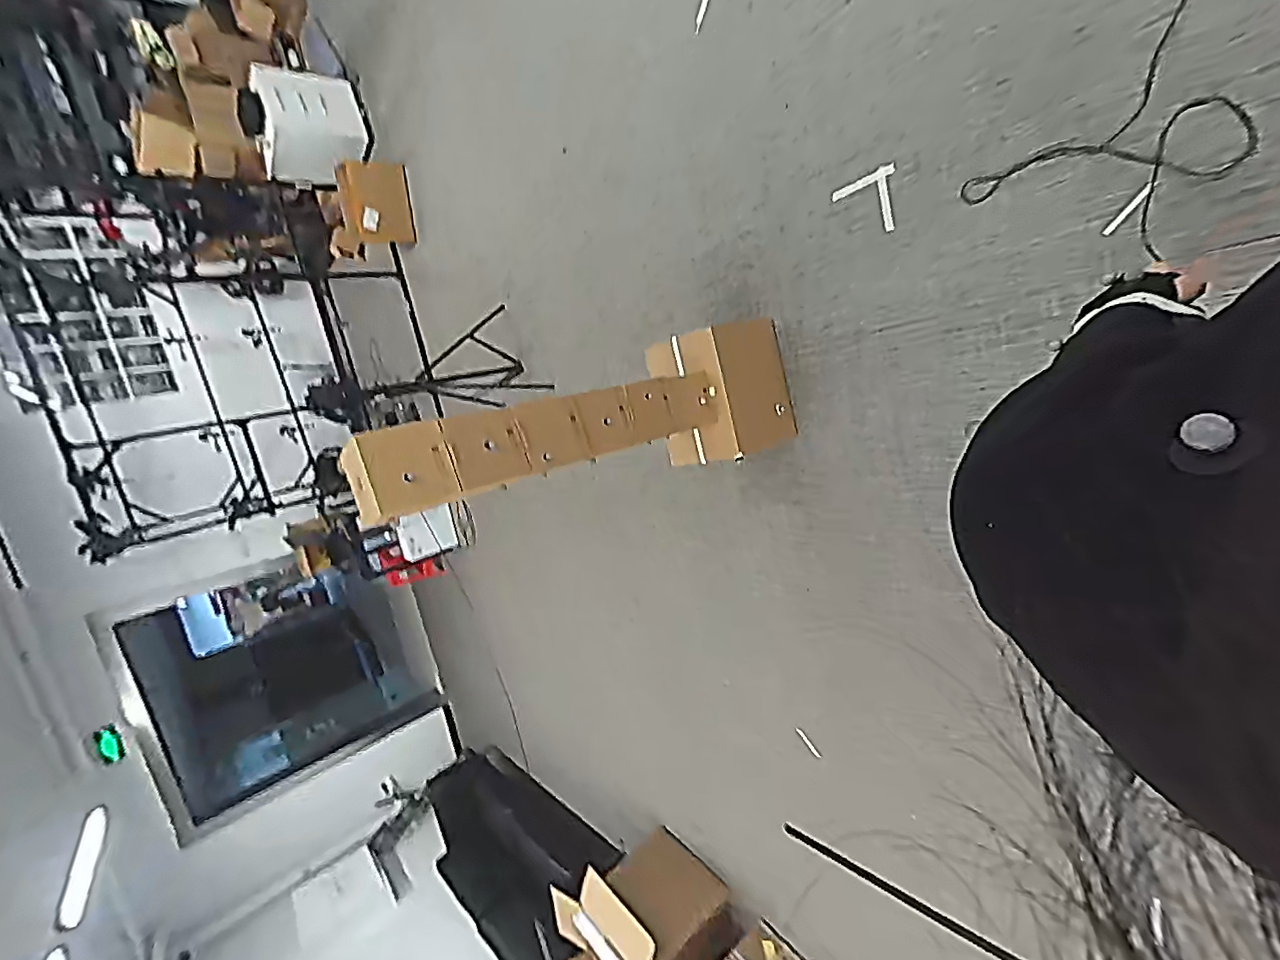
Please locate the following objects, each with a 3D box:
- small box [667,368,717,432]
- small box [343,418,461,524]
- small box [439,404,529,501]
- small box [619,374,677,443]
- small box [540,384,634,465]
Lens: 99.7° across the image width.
[{"bbox_3d":[0.106,-0.237,1.646,0.179,0.176,0.168,-5,102,50],"label":"small box"},{"bbox_3d":[-0.496,-0.021,1.138,0.179,0.176,0.168,-19,90,52],"label":"small box"},{"bbox_3d":[-0.374,-0.064,1.238,0.179,0.176,0.168,-19,90,51],"label":"small box"},{"bbox_3d":[-0.011,-0.198,1.542,0.179,0.176,0.168,-7,99,52],"label":"small box"},{"bbox_3d":[-0.134,-0.150,1.443,0.179,0.176,0.168,-14,94,51],"label":"small box"}]
